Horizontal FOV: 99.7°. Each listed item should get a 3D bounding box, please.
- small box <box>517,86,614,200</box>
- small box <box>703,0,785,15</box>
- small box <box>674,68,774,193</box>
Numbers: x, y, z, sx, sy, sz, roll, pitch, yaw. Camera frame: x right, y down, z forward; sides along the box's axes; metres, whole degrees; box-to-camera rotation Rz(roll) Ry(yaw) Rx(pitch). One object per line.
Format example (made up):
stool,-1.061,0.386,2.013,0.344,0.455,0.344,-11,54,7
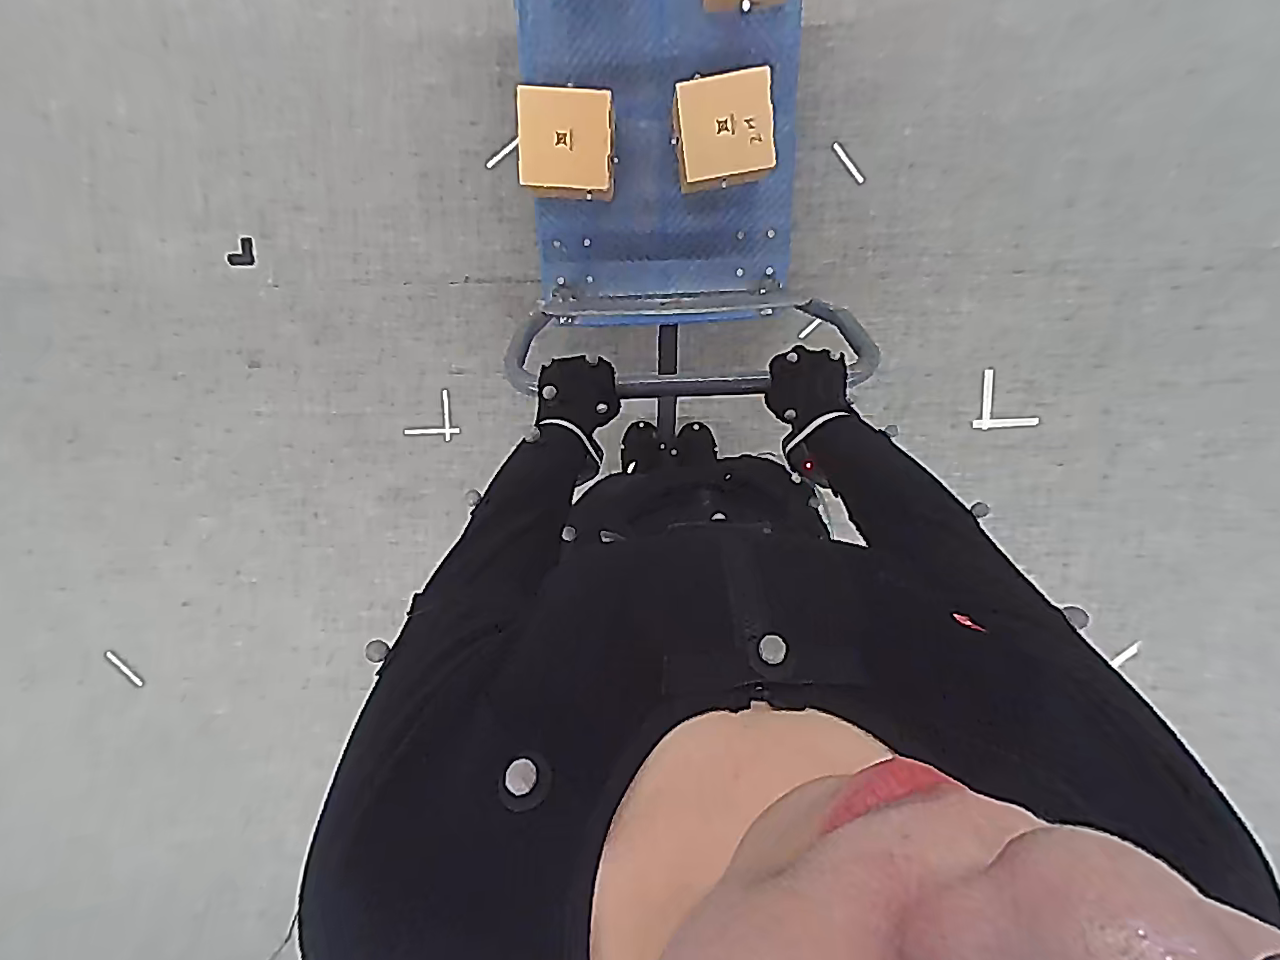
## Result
small box,-0.145,-0.673,1.099,0.179,0.176,0.168,2,111,-2
small box,0.199,-0.988,0.974,0.168,0.176,0.179,-5,112,3
small box,0.163,-0.691,1.089,0.179,0.176,0.168,-8,111,4
